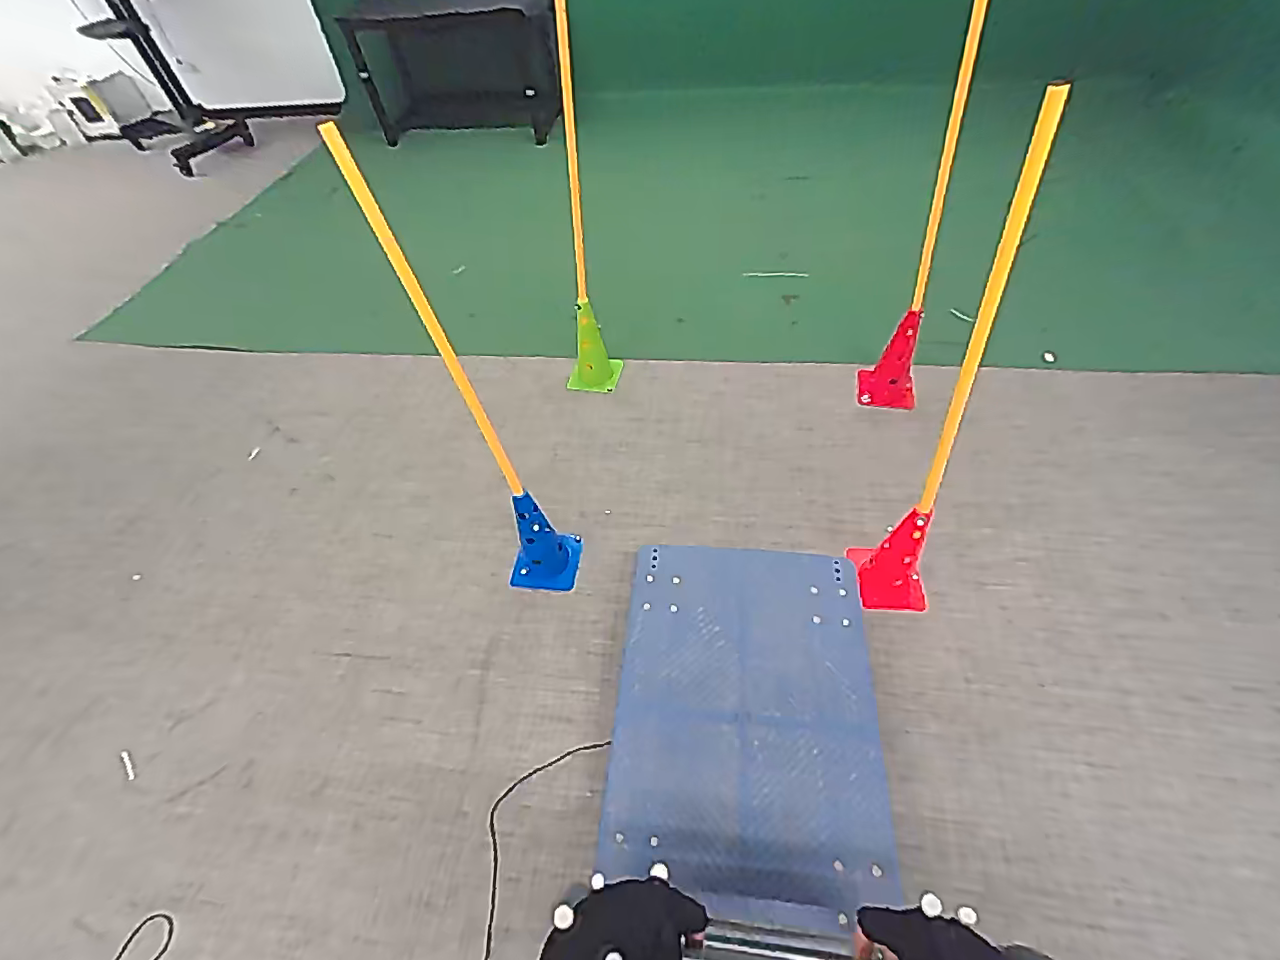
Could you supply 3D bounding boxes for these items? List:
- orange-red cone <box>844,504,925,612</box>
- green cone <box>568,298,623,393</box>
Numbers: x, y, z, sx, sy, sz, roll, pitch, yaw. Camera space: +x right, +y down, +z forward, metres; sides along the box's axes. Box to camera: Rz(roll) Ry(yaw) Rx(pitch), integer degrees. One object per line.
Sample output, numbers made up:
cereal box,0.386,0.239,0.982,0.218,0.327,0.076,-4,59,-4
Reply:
orange-red cone,0.692,0.185,1.456,0.199,0.360,0.198,2,51,9
green cone,-0.196,-0.541,2.108,0.202,0.368,0.200,6,52,11
